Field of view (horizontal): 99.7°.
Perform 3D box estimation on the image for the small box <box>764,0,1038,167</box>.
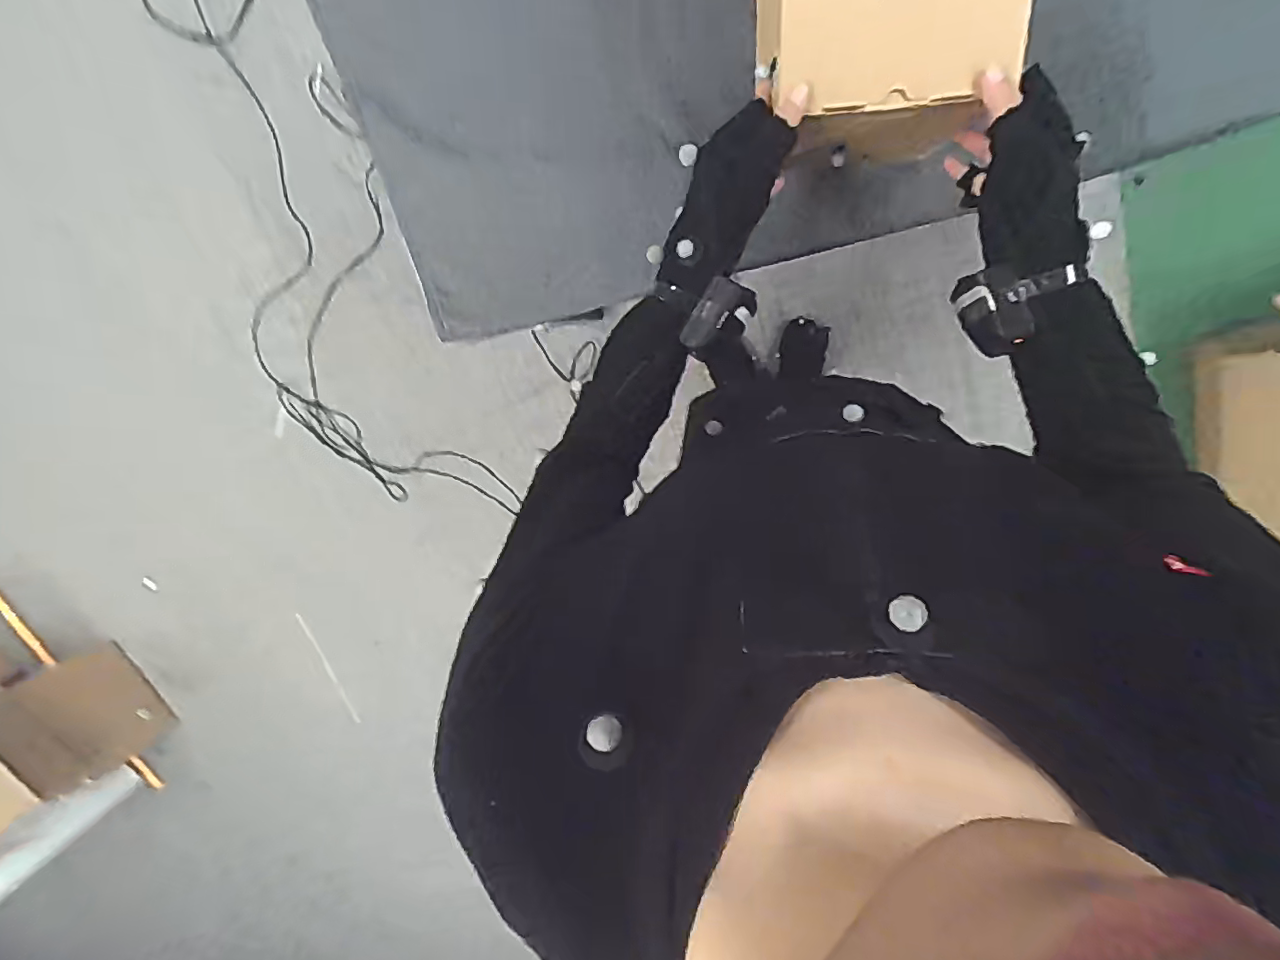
[{"bbox_3d":[0.193,-0.377,0.439,0.168,0.176,0.179,-1,108,7],"label":"small box"}]
